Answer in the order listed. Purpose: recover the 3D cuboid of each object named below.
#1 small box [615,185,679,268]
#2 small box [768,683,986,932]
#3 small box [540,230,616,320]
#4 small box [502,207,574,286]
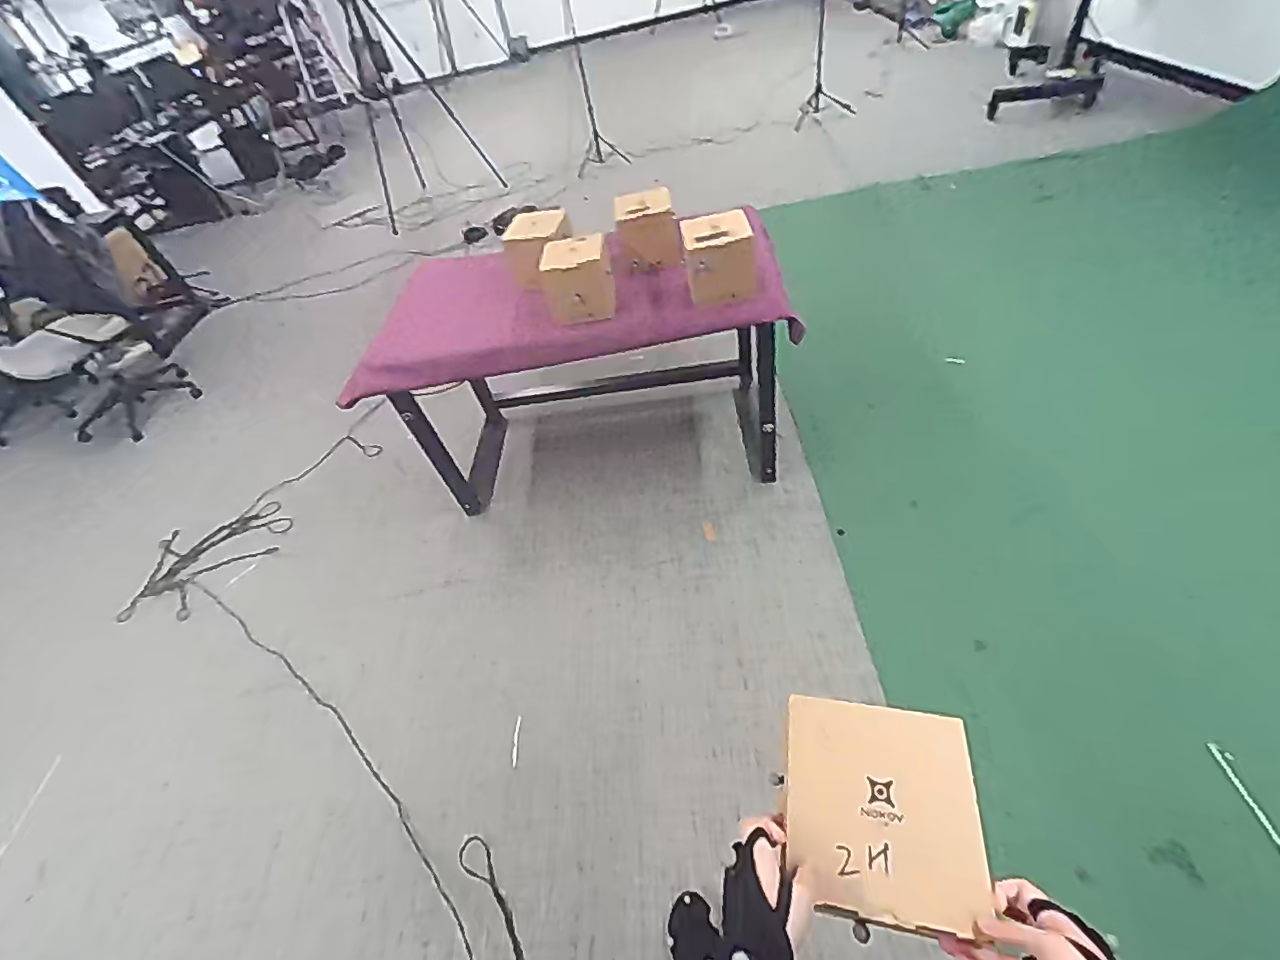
[{"bbox_3d":[0.023,-0.755,1.627,0.168,0.176,0.179,-8,46,6],"label":"small box"},{"bbox_3d":[0.221,0.333,0.556,0.168,0.176,0.179,3,53,13],"label":"small box"},{"bbox_3d":[-0.164,-0.559,1.494,0.168,0.176,0.179,-7,47,7],"label":"small box"},{"bbox_3d":[-0.298,-0.716,1.672,0.168,0.176,0.179,1,49,13],"label":"small box"}]
